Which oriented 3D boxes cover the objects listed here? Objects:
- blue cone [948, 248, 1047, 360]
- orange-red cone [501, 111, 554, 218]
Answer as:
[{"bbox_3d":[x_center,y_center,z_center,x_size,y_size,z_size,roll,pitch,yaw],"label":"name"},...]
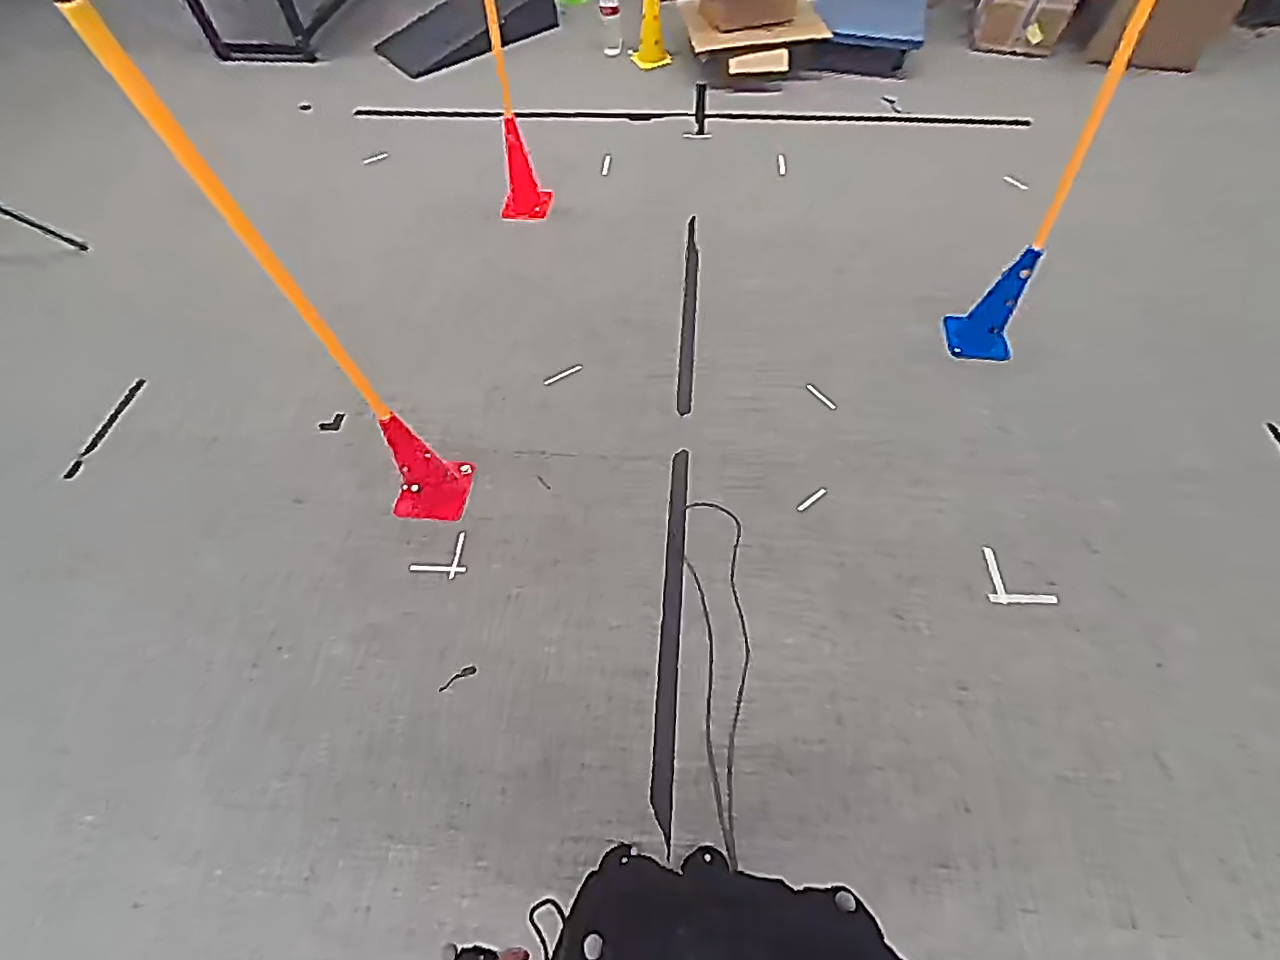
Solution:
[{"bbox_3d":[1.173,-0.579,1.737,0.193,0.380,0.192,6,60,5],"label":"blue cone"},{"bbox_3d":[-0.484,-1.275,2.164,0.198,0.360,0.199,6,59,5],"label":"orange-red cone"}]
